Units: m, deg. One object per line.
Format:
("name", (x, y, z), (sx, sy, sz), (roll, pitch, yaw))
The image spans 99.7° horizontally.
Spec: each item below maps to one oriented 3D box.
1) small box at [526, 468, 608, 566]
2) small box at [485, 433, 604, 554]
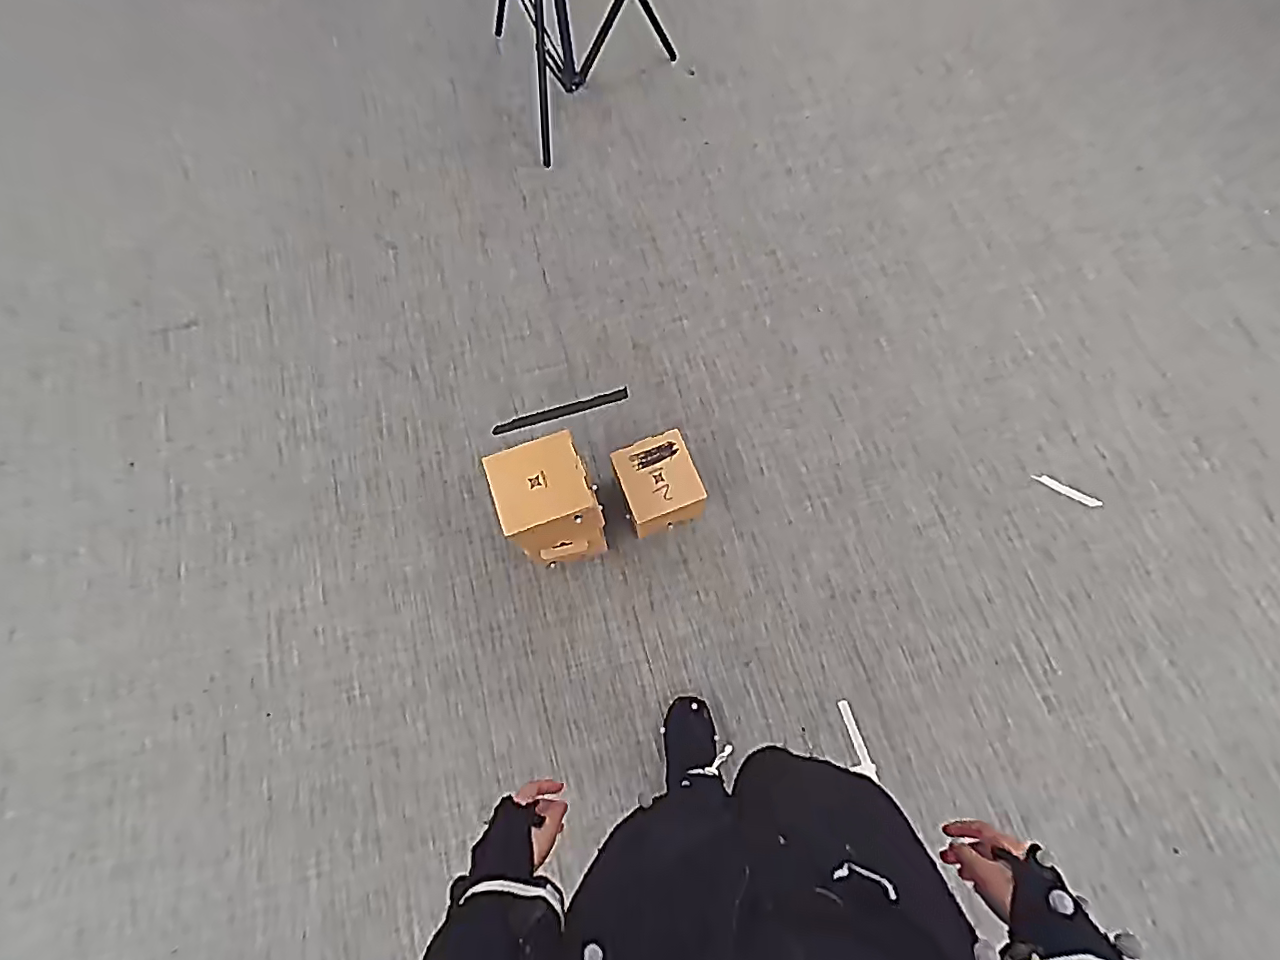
("small box", (-0.174, 0.092, 1.237), (0.168, 0.176, 0.179), (-13, 72, -2))
("small box", (-0.185, 0.035, 1.084), (0.179, 0.176, 0.168), (-20, 72, -5))
